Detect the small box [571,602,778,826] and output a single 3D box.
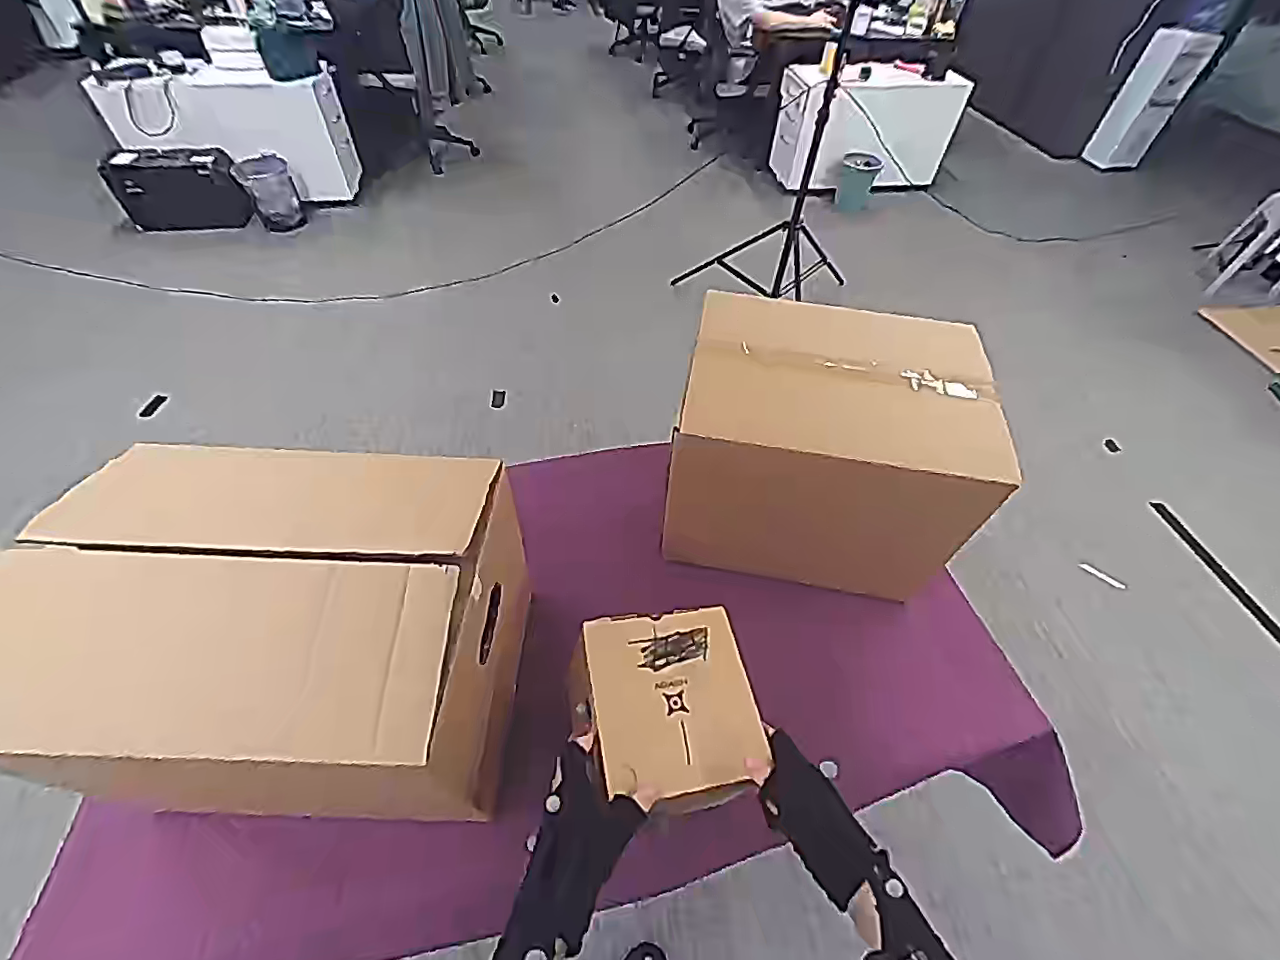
[{"bbox_3d":[0.021,0.257,0.598,0.168,0.176,0.179,-2,52,-16],"label":"small box"}]
